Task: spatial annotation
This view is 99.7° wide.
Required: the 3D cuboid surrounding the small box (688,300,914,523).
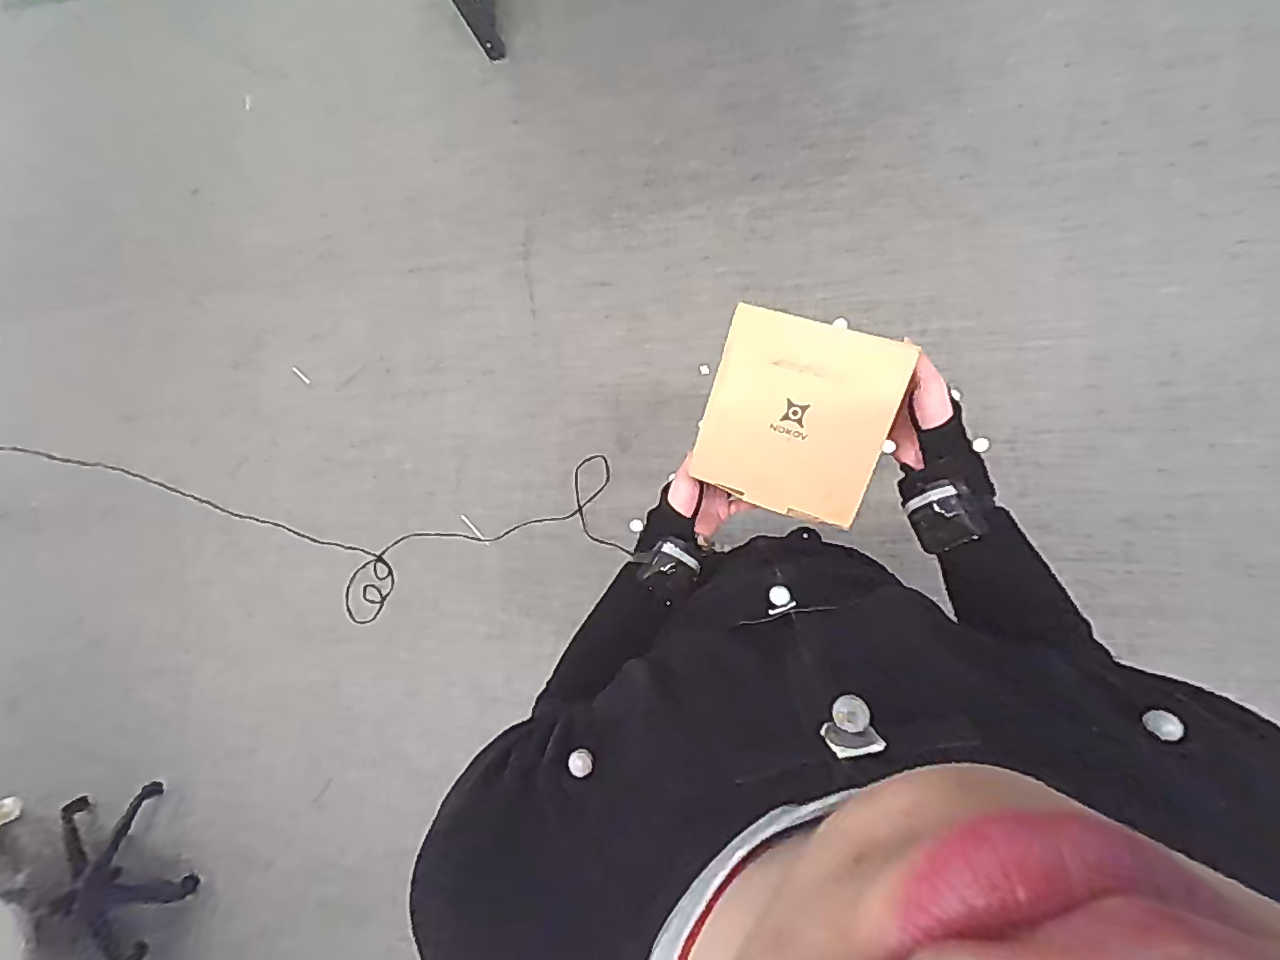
[{"bbox_3d":[0.167,-0.078,0.583,0.168,0.176,0.179,19,105,13],"label":"small box"}]
